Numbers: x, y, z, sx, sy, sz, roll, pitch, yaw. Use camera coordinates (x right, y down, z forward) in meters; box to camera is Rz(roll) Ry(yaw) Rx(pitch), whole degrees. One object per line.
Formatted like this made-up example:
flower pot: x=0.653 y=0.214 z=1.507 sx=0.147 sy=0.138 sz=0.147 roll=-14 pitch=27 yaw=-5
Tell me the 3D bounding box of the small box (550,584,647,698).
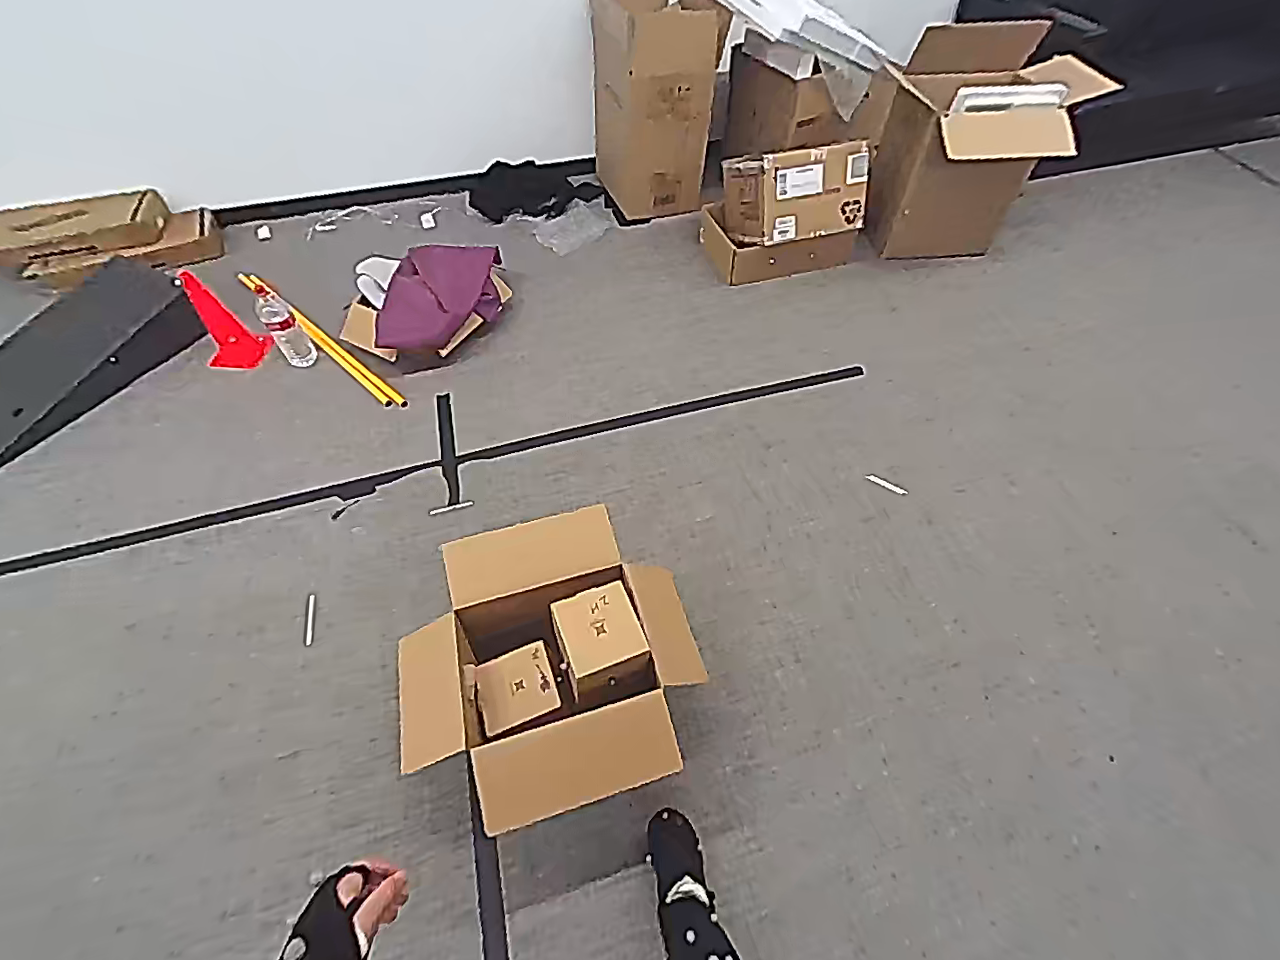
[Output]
small box: x=-0.093 y=0.367 z=1.209 sx=0.168 sy=0.176 sz=0.179 roll=-17 pitch=56 yaw=-16
